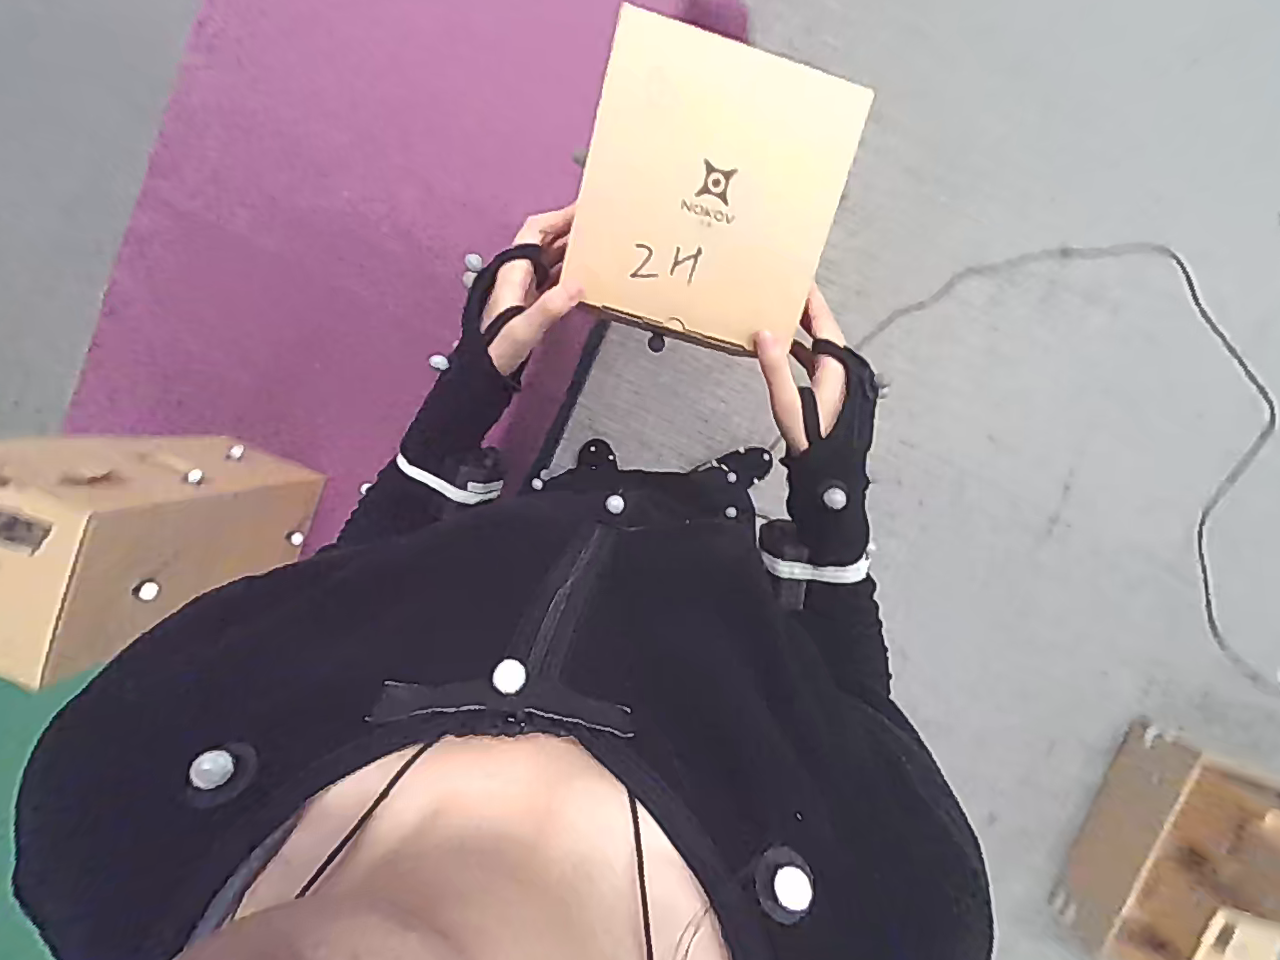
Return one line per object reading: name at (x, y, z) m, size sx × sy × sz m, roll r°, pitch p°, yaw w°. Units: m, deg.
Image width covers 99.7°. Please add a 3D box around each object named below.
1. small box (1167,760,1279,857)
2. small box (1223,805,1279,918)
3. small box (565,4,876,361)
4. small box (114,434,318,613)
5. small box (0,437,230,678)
small box at (1.559, 0.879, 1.417) m, size 0.168 × 0.176 × 0.179 m, roll 20°, pitch 99°, yaw 2°
small box at (1.530, 0.900, 1.257) m, size 0.168 × 0.176 × 0.179 m, roll 4°, pitch 97°, yaw 4°
small box at (0.046, -0.207, 0.432) m, size 0.168 × 0.176 × 0.179 m, roll 16°, pitch 105°, yaw -6°
small box at (-0.575, 0.045, 0.729) m, size 0.168 × 0.176 × 0.179 m, roll 22°, pitch 97°, yaw 0°
small box at (-0.581, 0.063, 0.565) m, size 0.168 × 0.176 × 0.179 m, roll 22°, pitch 98°, yaw -1°
